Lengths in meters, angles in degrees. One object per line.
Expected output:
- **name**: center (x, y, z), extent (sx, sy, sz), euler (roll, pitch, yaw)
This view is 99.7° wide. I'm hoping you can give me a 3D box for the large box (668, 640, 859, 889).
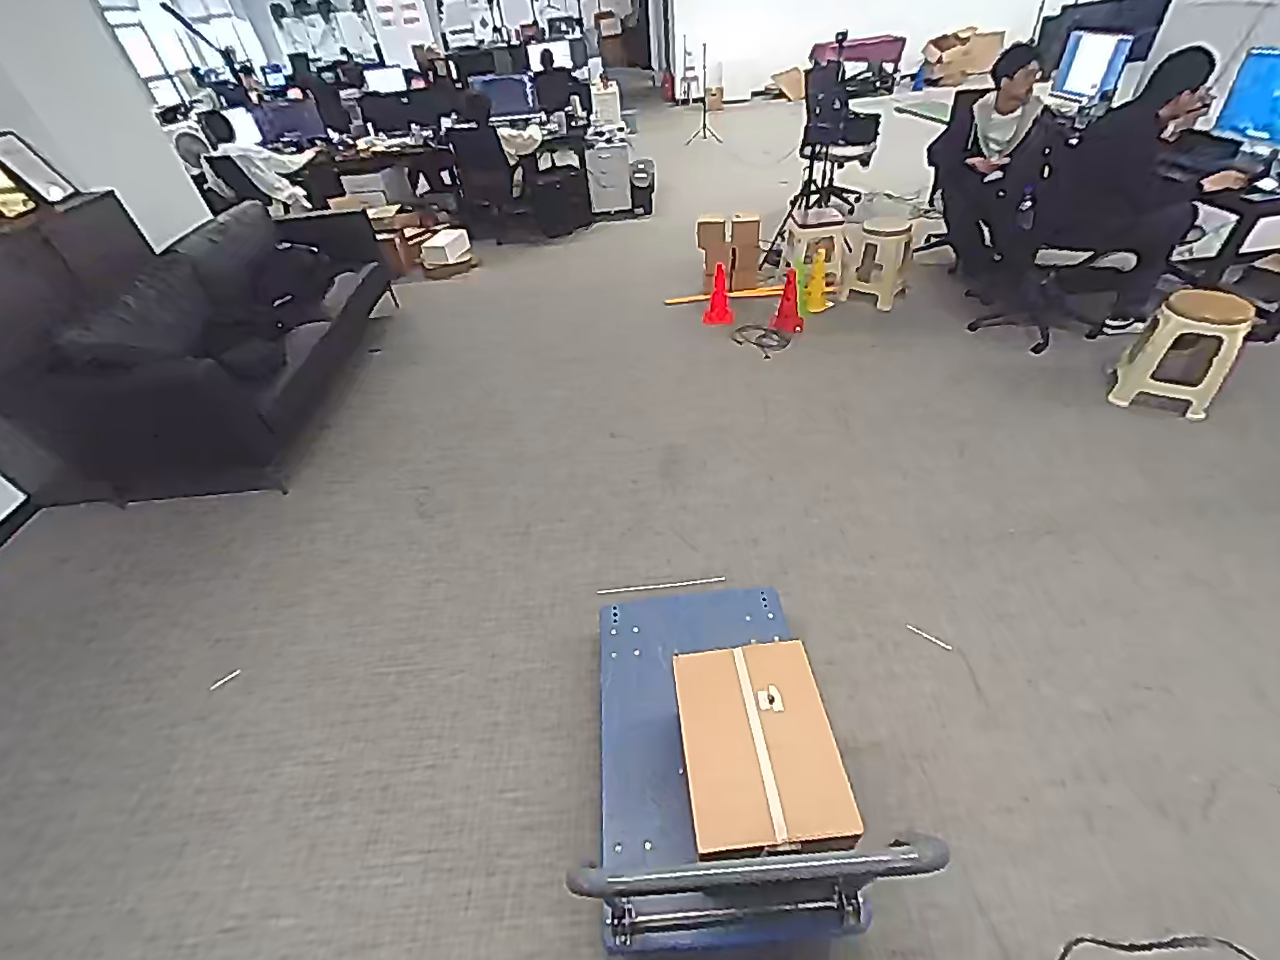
- **large box**: center (0.251, 0.642, 1.237), extent (0.320, 0.320, 0.408), euler (-7, 42, 0)
